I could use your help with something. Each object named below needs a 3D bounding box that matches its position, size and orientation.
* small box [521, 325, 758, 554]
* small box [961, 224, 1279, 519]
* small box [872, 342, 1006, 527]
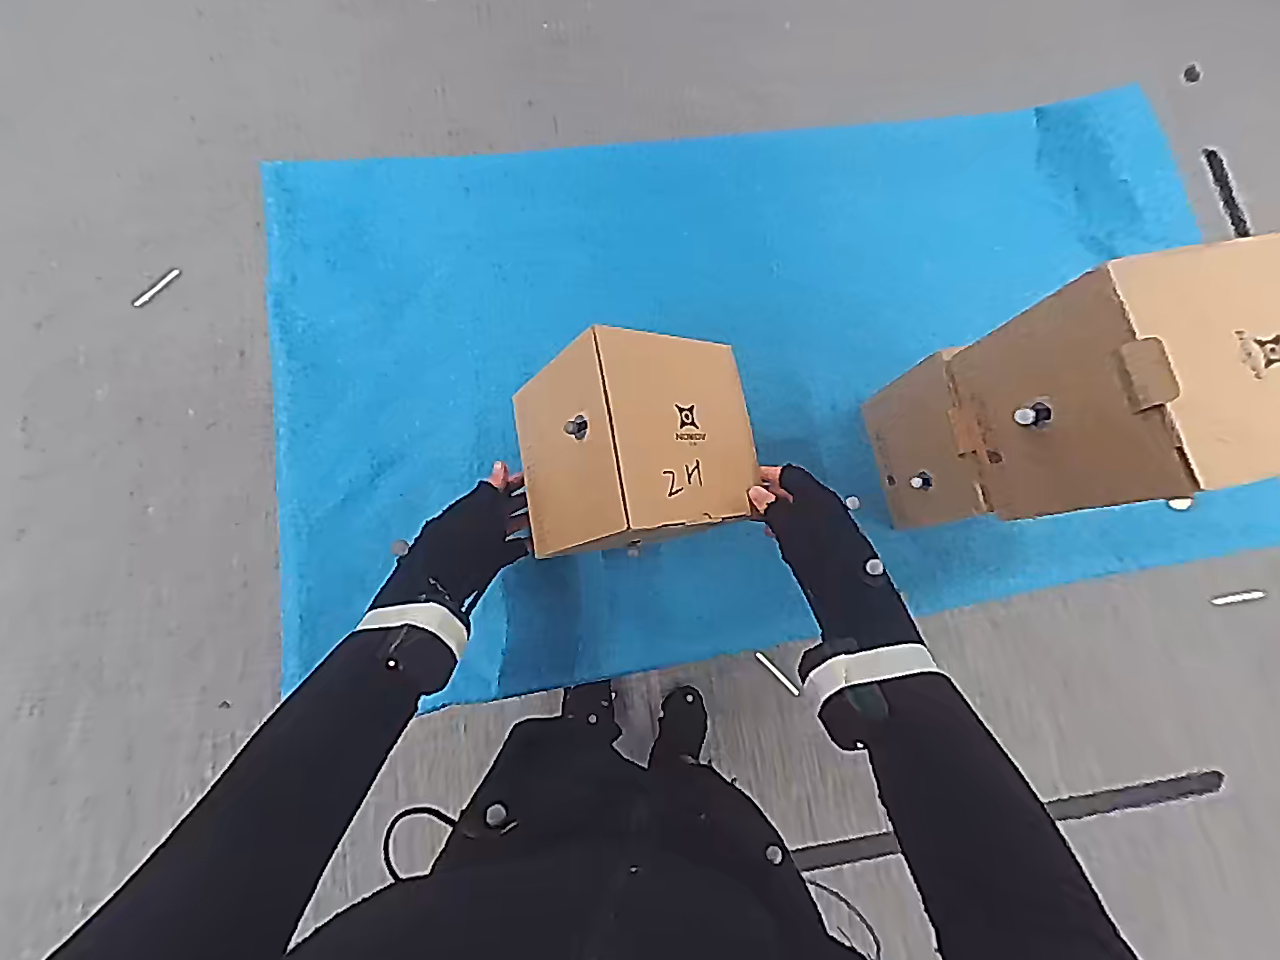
[{"bbox_3d":[-0.010,-0.025,0.538,0.168,0.176,0.179,1,78,-35],"label":"small box"},{"bbox_3d":[0.399,-0.071,0.437,0.179,0.176,0.168,-13,80,-7],"label":"small box"},{"bbox_3d":[0.380,-0.046,0.597,0.179,0.176,0.168,-9,80,-5],"label":"small box"}]
